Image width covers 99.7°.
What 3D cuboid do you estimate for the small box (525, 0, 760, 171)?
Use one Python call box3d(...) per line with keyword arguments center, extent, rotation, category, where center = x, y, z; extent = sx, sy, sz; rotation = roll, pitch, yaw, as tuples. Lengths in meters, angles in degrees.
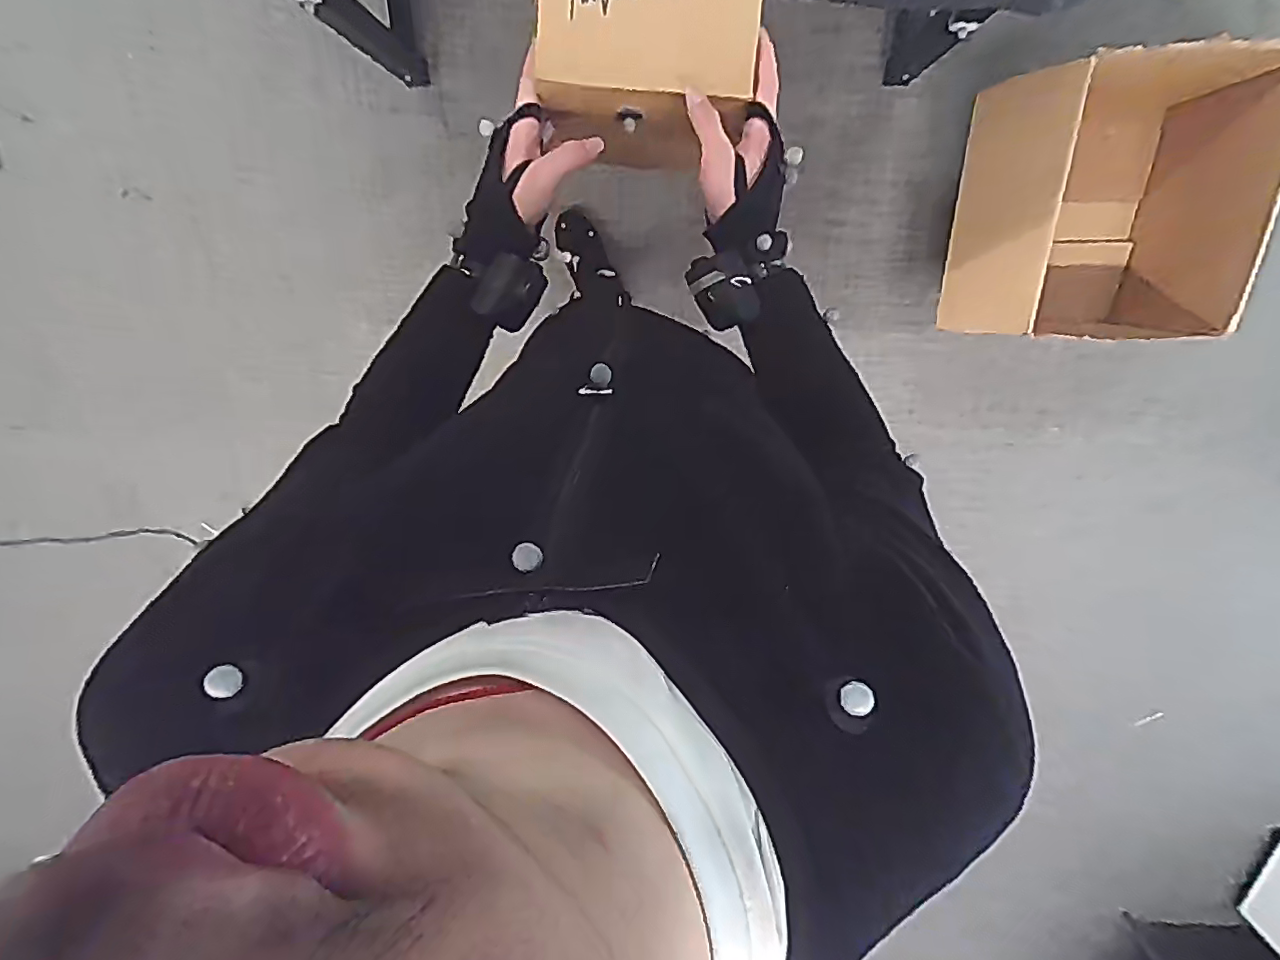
box3d(center=(0.011, -0.399, 0.484), extent=(0.179, 0.176, 0.168), rotation=(9, 104, 1), category="small box")
